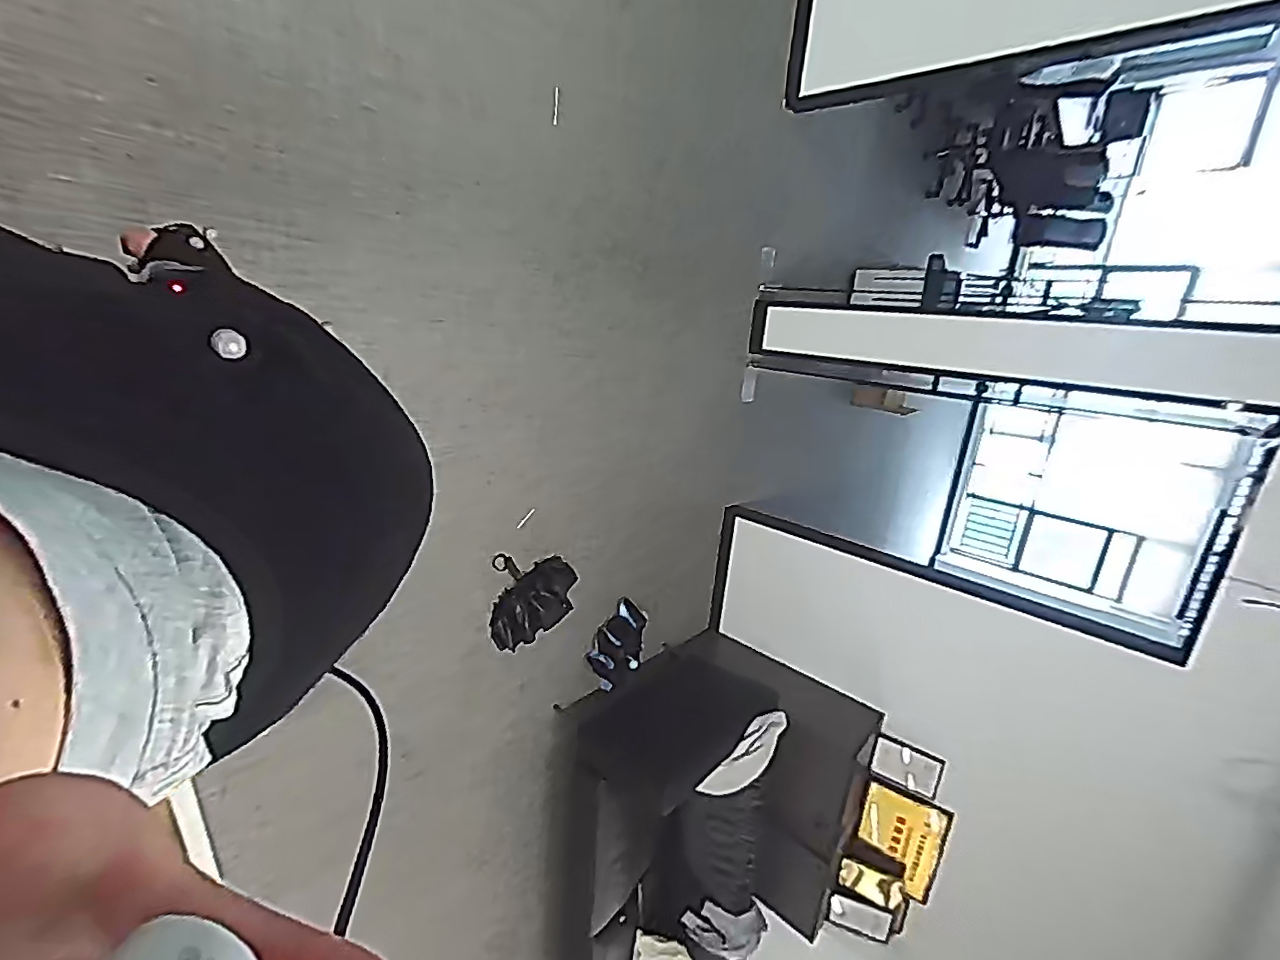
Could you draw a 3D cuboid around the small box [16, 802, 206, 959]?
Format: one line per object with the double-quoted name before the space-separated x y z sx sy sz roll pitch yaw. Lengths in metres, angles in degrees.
"small box" -0.768 0.627 0.791 0.168 0.176 0.179 -16 118 -46
